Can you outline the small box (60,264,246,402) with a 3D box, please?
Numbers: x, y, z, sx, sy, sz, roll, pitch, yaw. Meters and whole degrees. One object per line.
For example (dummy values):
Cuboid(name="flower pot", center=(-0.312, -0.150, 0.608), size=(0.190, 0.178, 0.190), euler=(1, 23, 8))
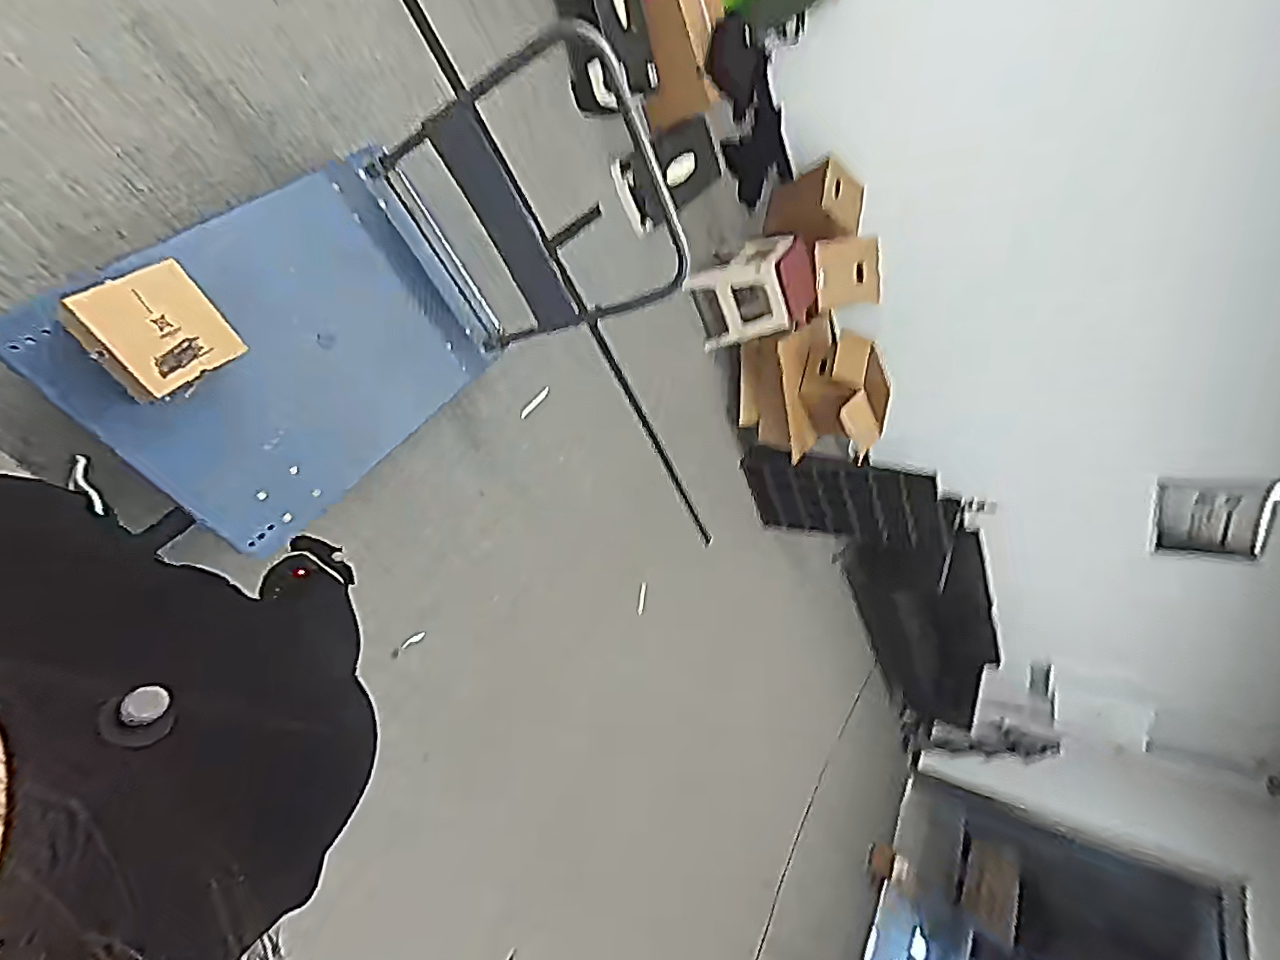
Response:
Cuboid(name="small box", center=(-0.852, -0.250, 0.951), size=(0.168, 0.176, 0.179), euler=(-50, 127, -36))
